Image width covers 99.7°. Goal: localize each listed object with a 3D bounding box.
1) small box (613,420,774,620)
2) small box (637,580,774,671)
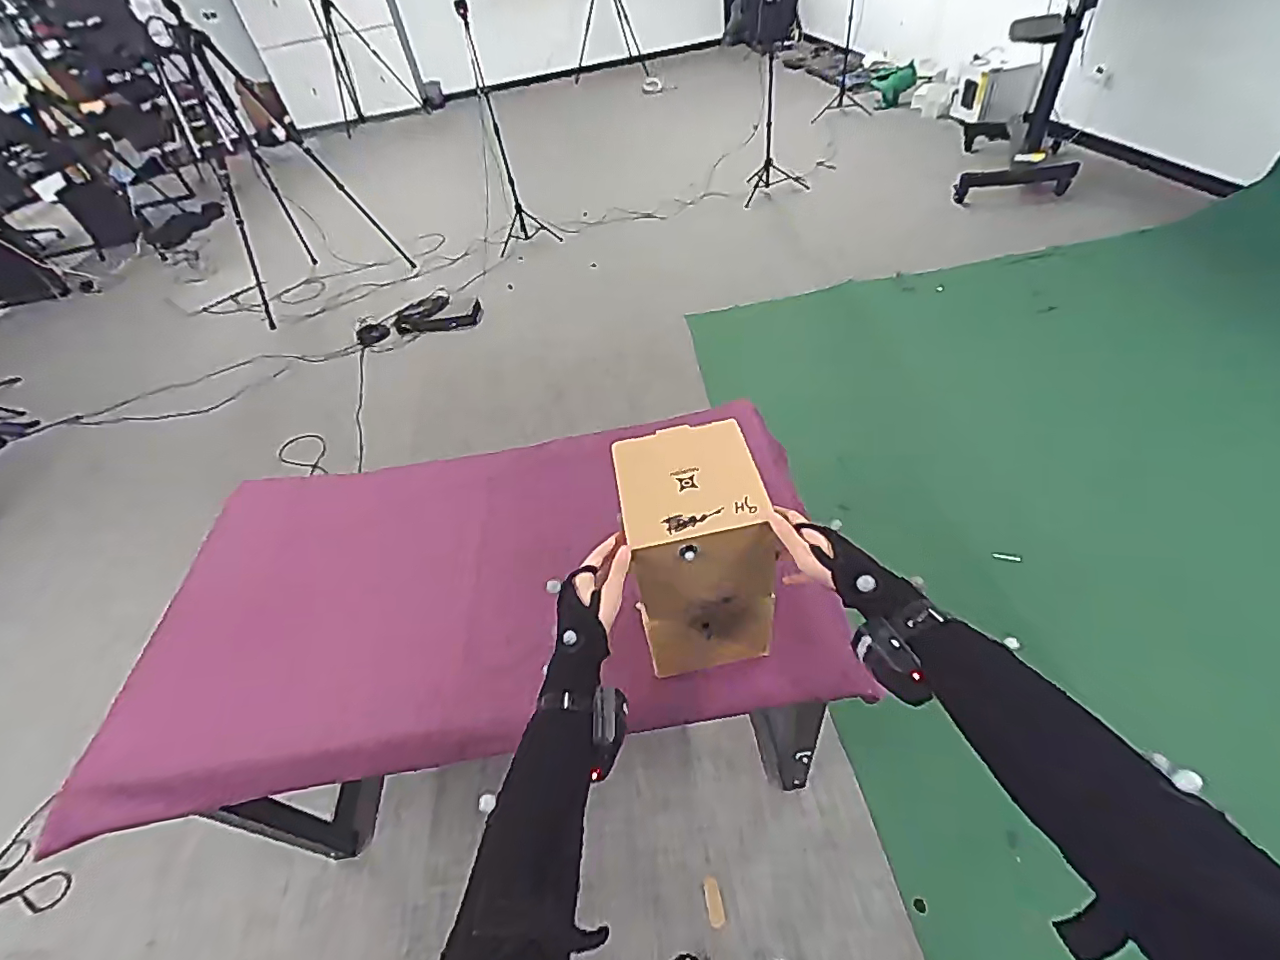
[{"bbox_3d":[0.067,0.053,0.699,0.168,0.176,0.179,-13,46,2],"label":"small box"},{"bbox_3d":[0.092,0.165,0.816,0.179,0.176,0.168,-13,47,1],"label":"small box"}]
